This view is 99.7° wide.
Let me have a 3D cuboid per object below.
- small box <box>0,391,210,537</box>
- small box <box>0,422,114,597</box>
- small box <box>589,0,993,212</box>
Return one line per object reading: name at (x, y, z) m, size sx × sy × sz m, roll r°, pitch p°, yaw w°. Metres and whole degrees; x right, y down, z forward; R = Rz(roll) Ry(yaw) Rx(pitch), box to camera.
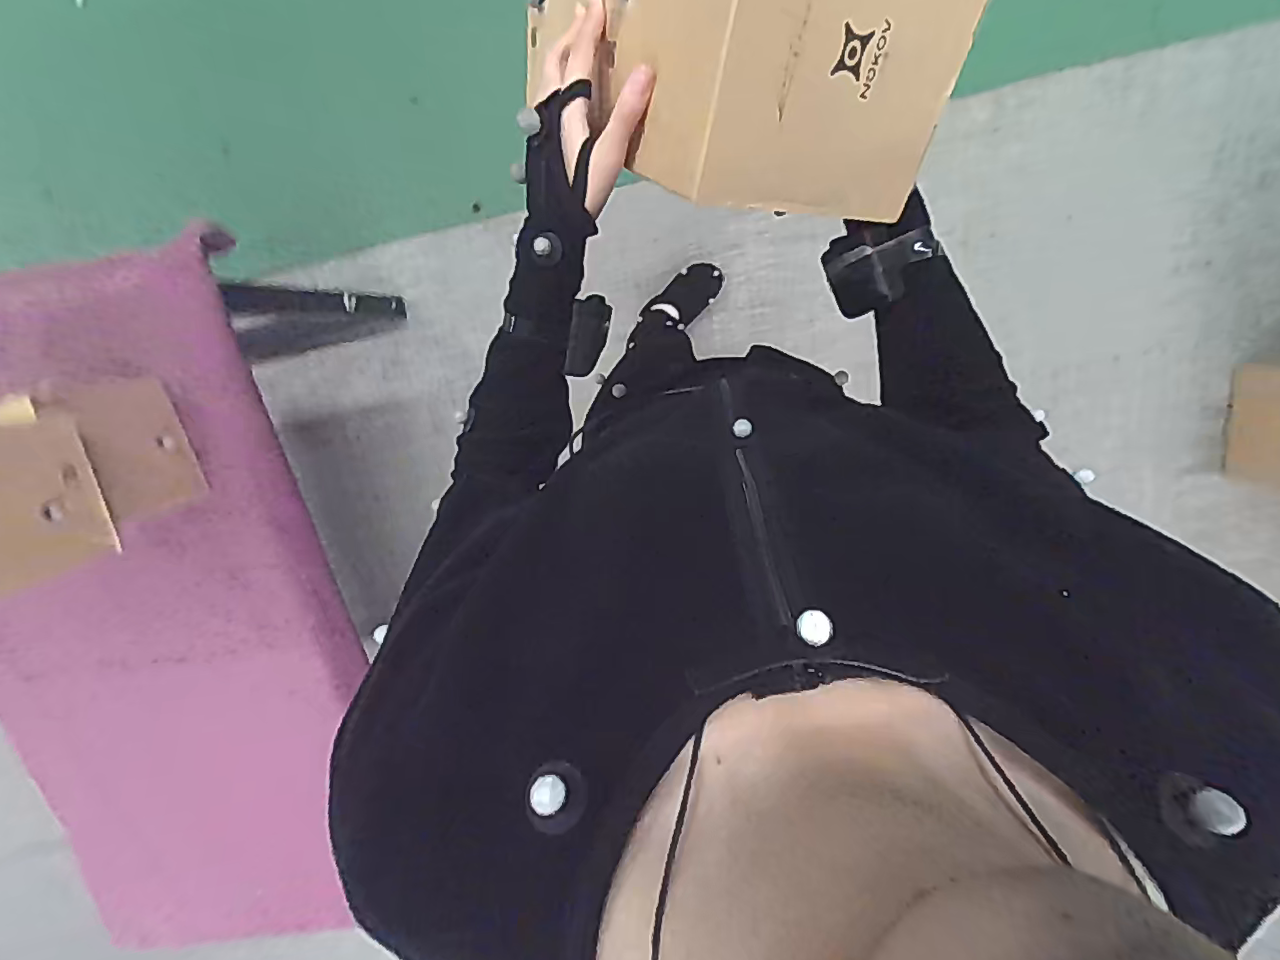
small box at (-0.728, -0.015, 0.707) m, size 0.168 × 0.176 × 0.179 m, roll -11°, pitch 104°, yaw 7°
small box at (-0.716, 0.038, 0.552) m, size 0.179 × 0.176 × 0.168 m, roll -4°, pitch 106°, yaw 4°
small box at (0.086, -0.288, 0.344) m, size 0.179 × 0.176 × 0.168 m, roll -7°, pitch 129°, yaw -26°
